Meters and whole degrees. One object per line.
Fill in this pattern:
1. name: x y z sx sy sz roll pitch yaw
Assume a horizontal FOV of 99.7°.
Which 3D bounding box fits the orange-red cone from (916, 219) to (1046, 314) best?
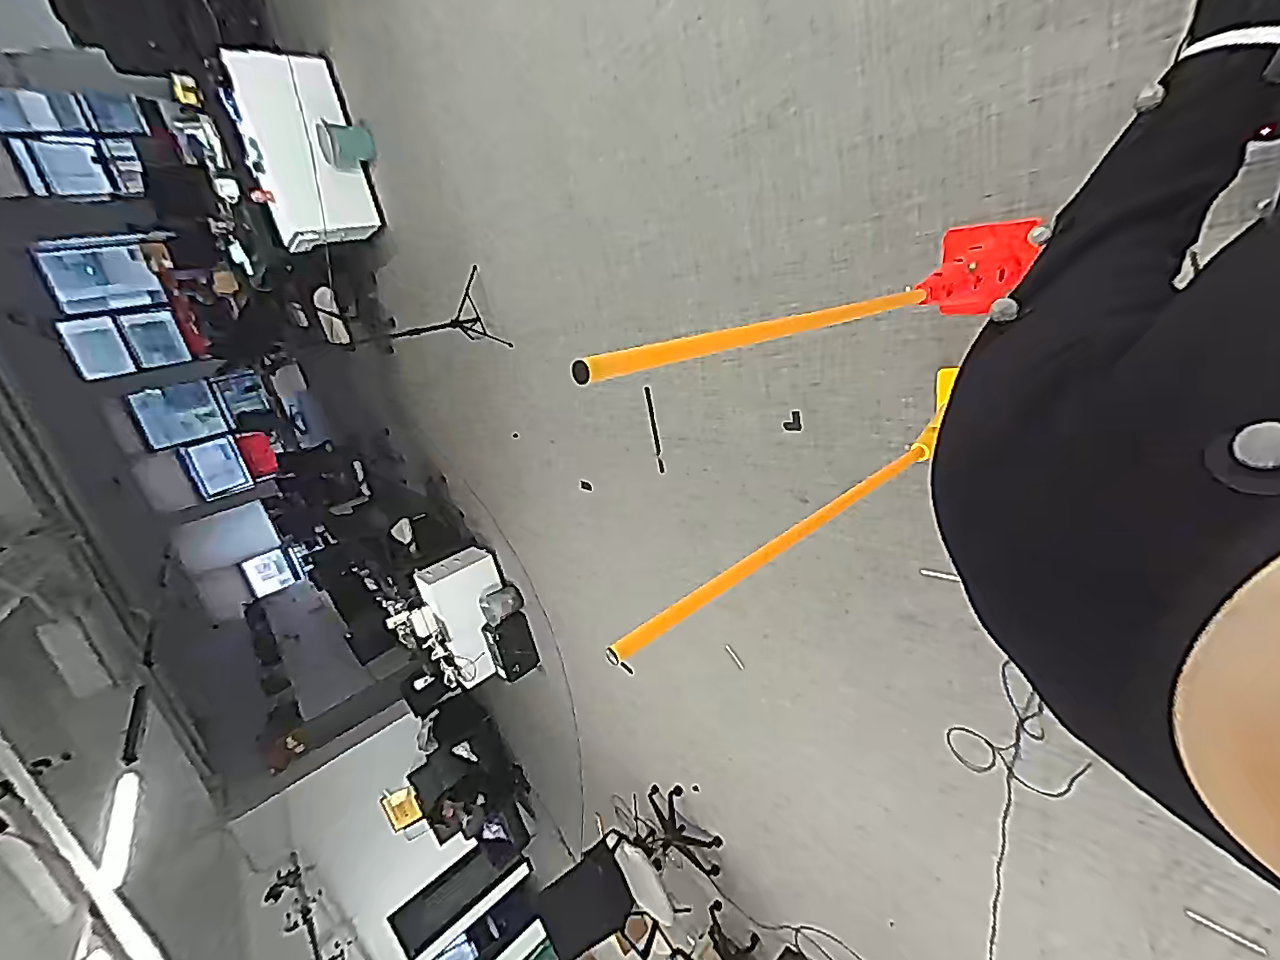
1. orange-red cone: 0.682 -0.430 1.149 0.198 0.360 0.199 19 124 45
